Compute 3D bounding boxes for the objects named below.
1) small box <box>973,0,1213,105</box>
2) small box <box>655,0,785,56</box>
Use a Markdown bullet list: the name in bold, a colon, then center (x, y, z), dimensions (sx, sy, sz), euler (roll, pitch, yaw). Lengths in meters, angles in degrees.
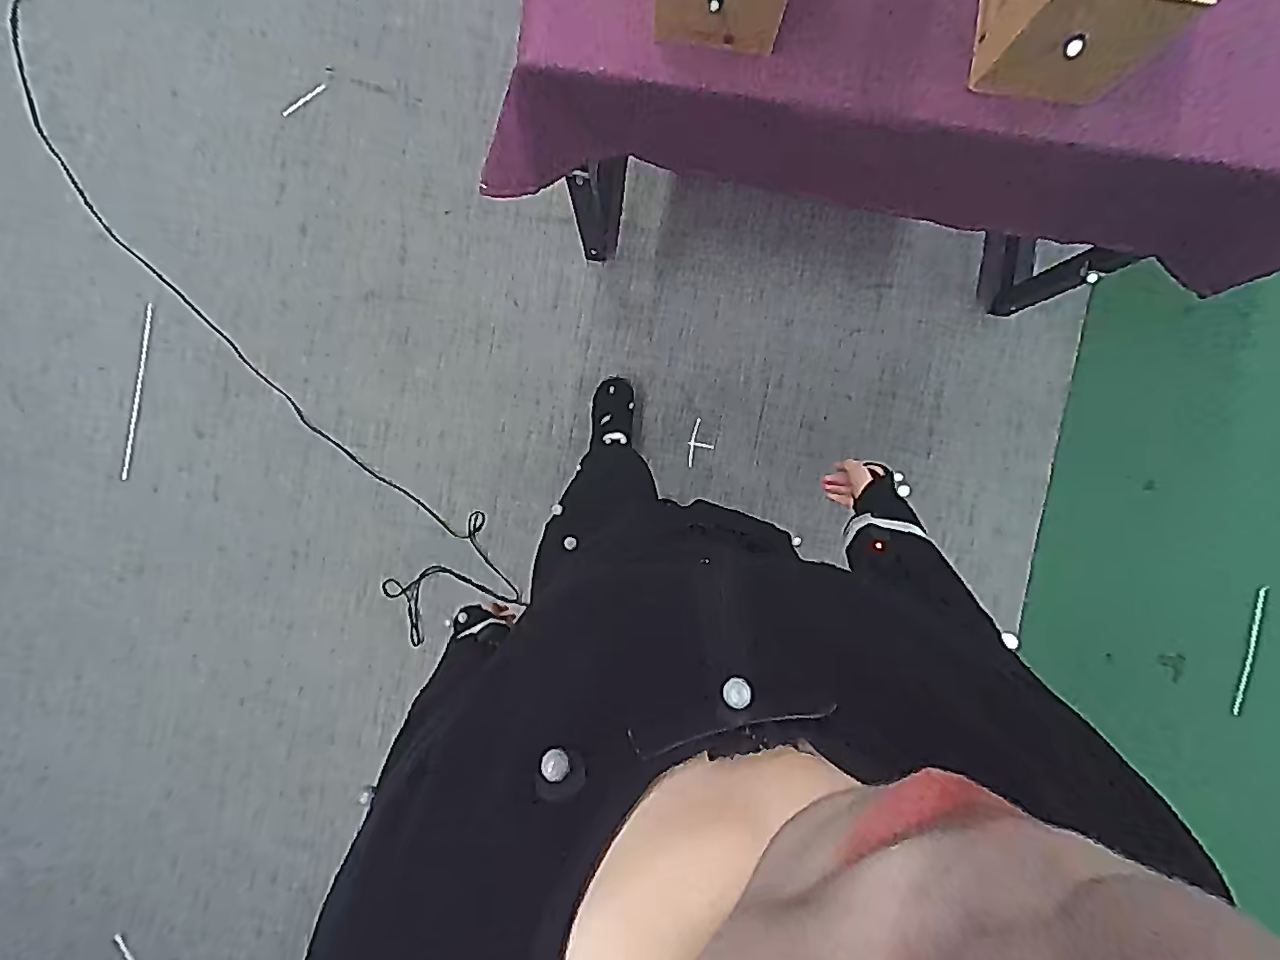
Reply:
- **small box**: center (0.552, -0.607, 0.673), dimensions (0.179, 0.176, 0.168), euler (7, 91, 0)
- **small box**: center (0.110, -0.678, 0.670), dimensions (0.168, 0.176, 0.179), euler (8, 90, -1)
